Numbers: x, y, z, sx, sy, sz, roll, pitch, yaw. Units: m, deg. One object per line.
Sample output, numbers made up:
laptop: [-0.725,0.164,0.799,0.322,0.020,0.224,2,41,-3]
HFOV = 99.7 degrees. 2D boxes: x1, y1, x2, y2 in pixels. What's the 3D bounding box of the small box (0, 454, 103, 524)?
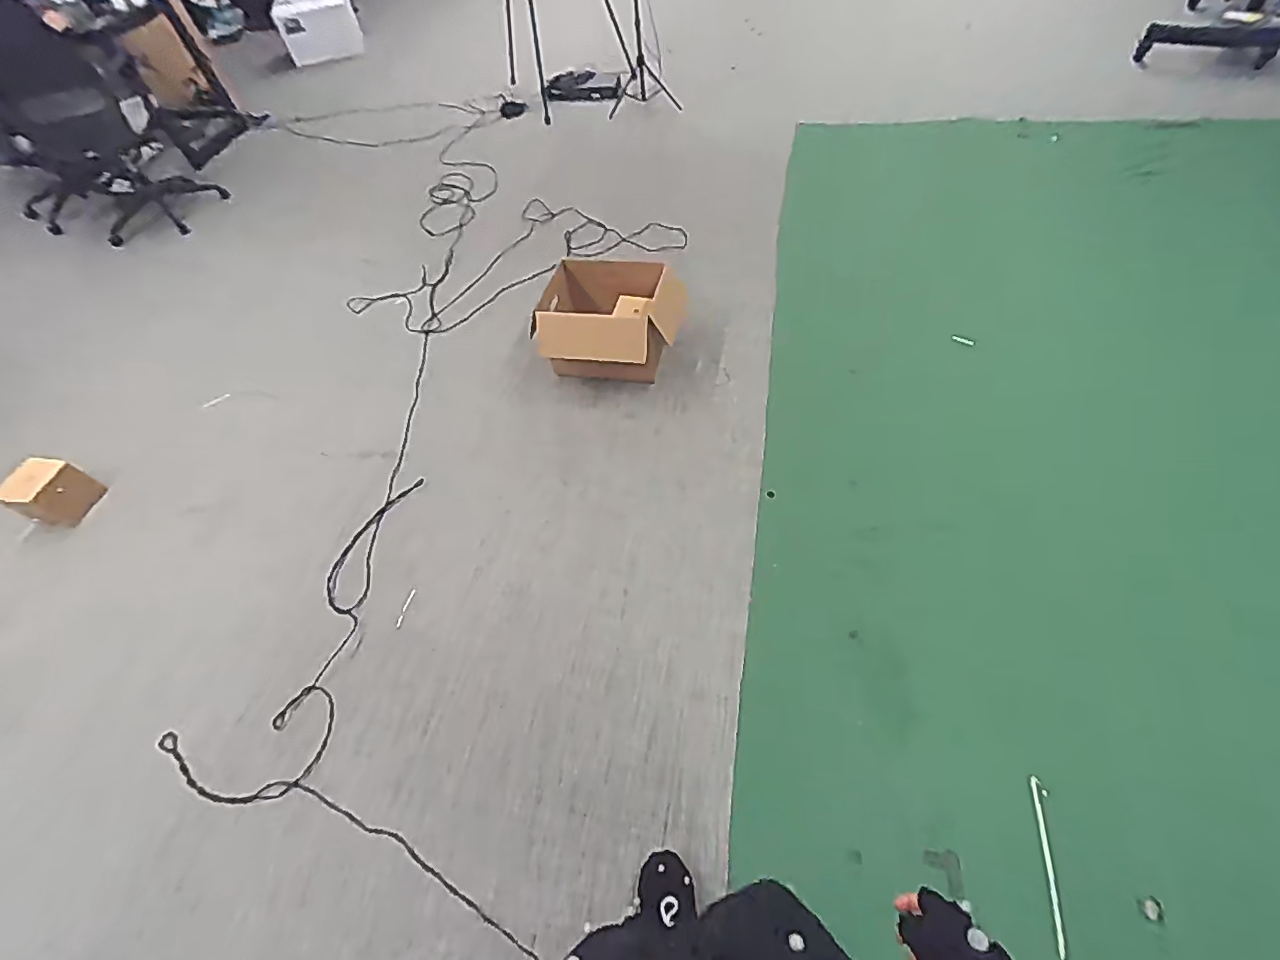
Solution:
small box: [-2.051,0.033,1.886,0.168,0.176,0.179,5,58,9]
